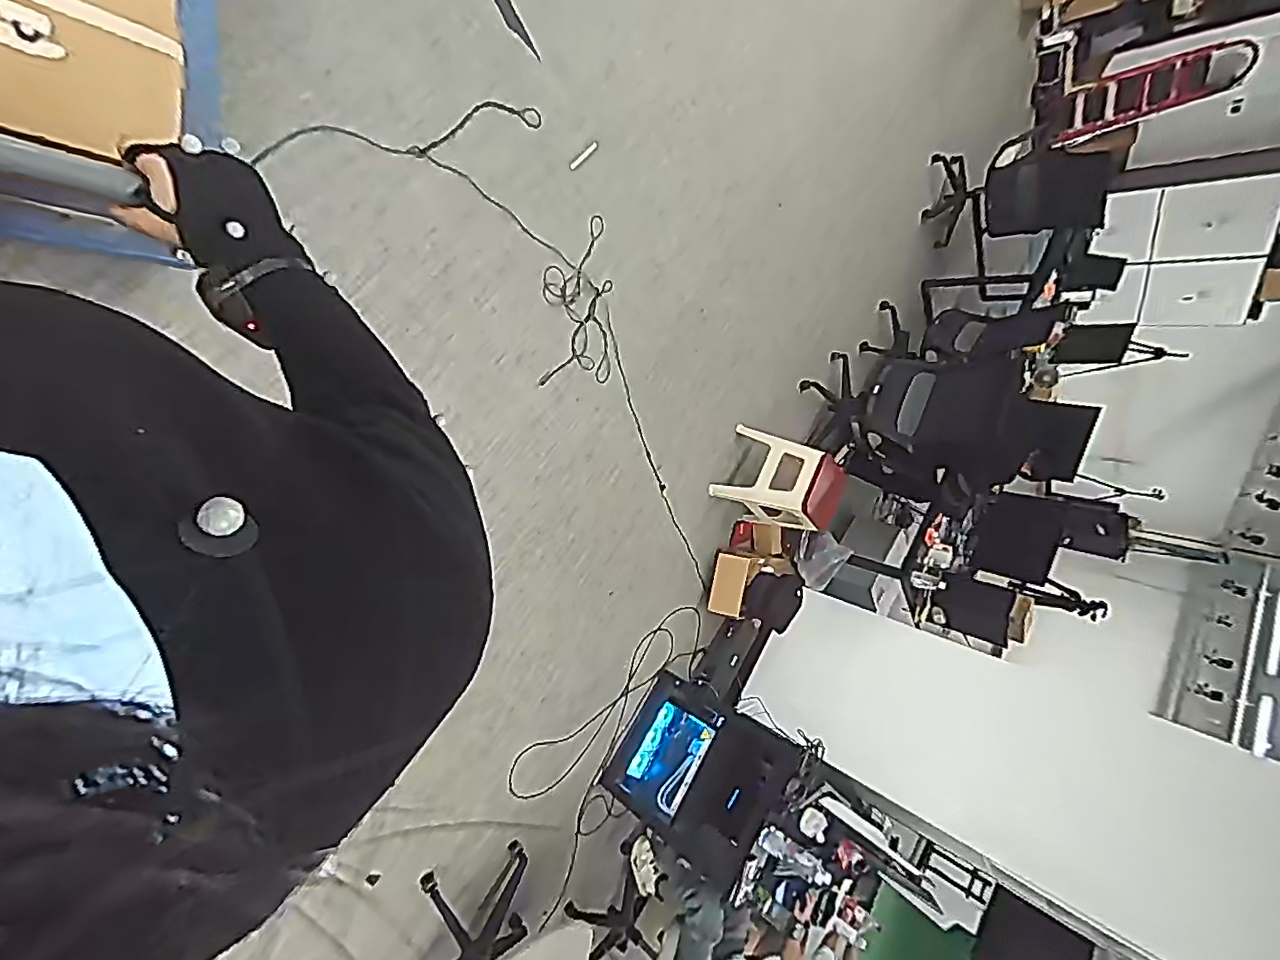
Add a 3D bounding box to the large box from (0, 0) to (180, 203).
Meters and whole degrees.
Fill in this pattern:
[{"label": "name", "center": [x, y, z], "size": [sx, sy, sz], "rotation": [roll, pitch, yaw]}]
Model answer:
[{"label": "large box", "center": [-0.866, -0.591, 0.676], "size": [0.408, 0.320, 0.320], "rotation": [-3, 104, -47]}]
